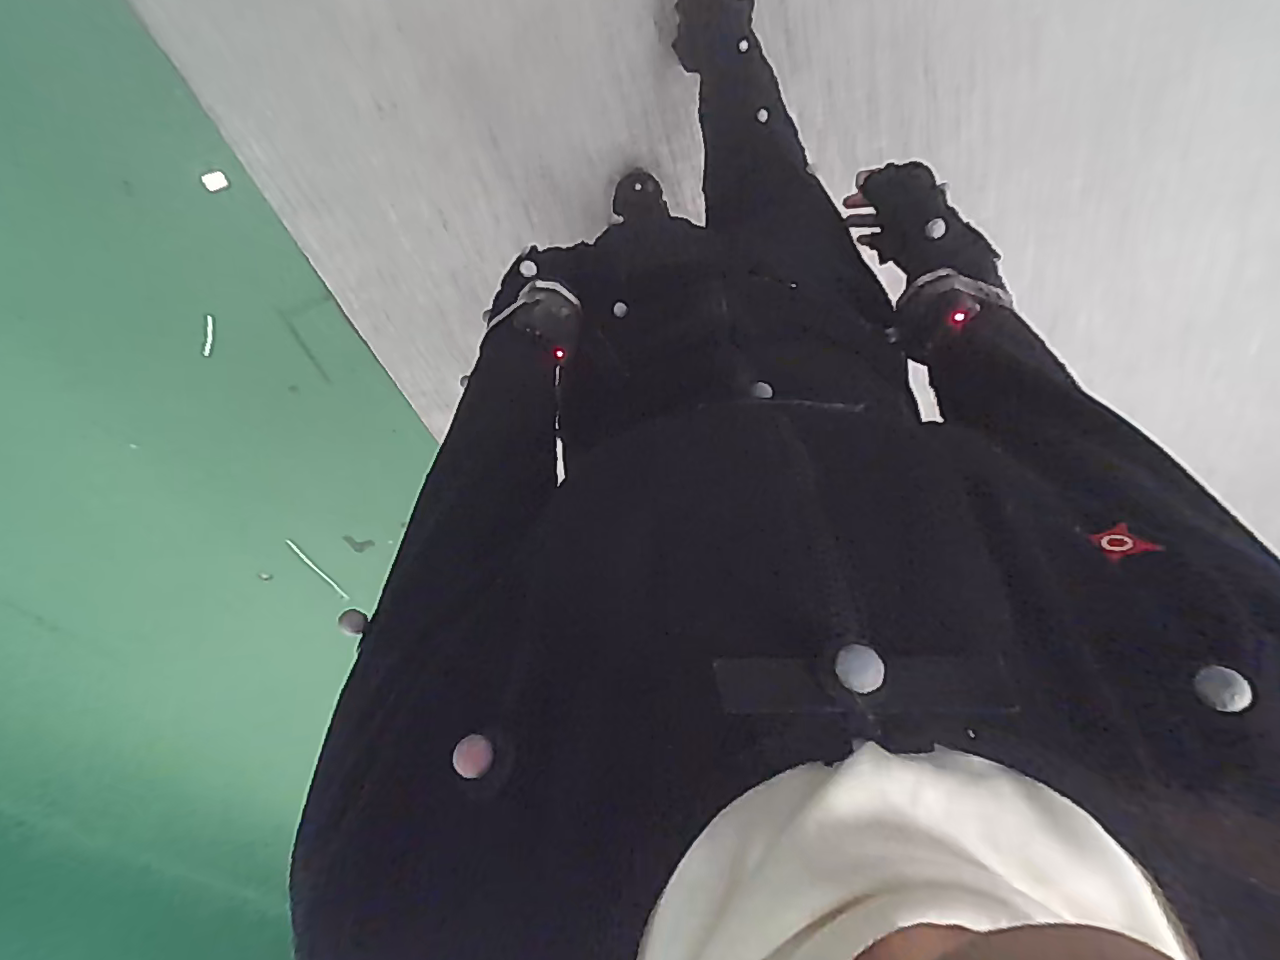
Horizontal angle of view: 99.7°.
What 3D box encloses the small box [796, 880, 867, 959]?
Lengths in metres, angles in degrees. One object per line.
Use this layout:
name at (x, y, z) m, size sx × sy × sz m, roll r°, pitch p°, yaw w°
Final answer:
small box at (0.627, 1.457, 1.790) m, size 0.179 × 0.176 × 0.168 m, roll -19°, pitch 128°, yaw 11°
